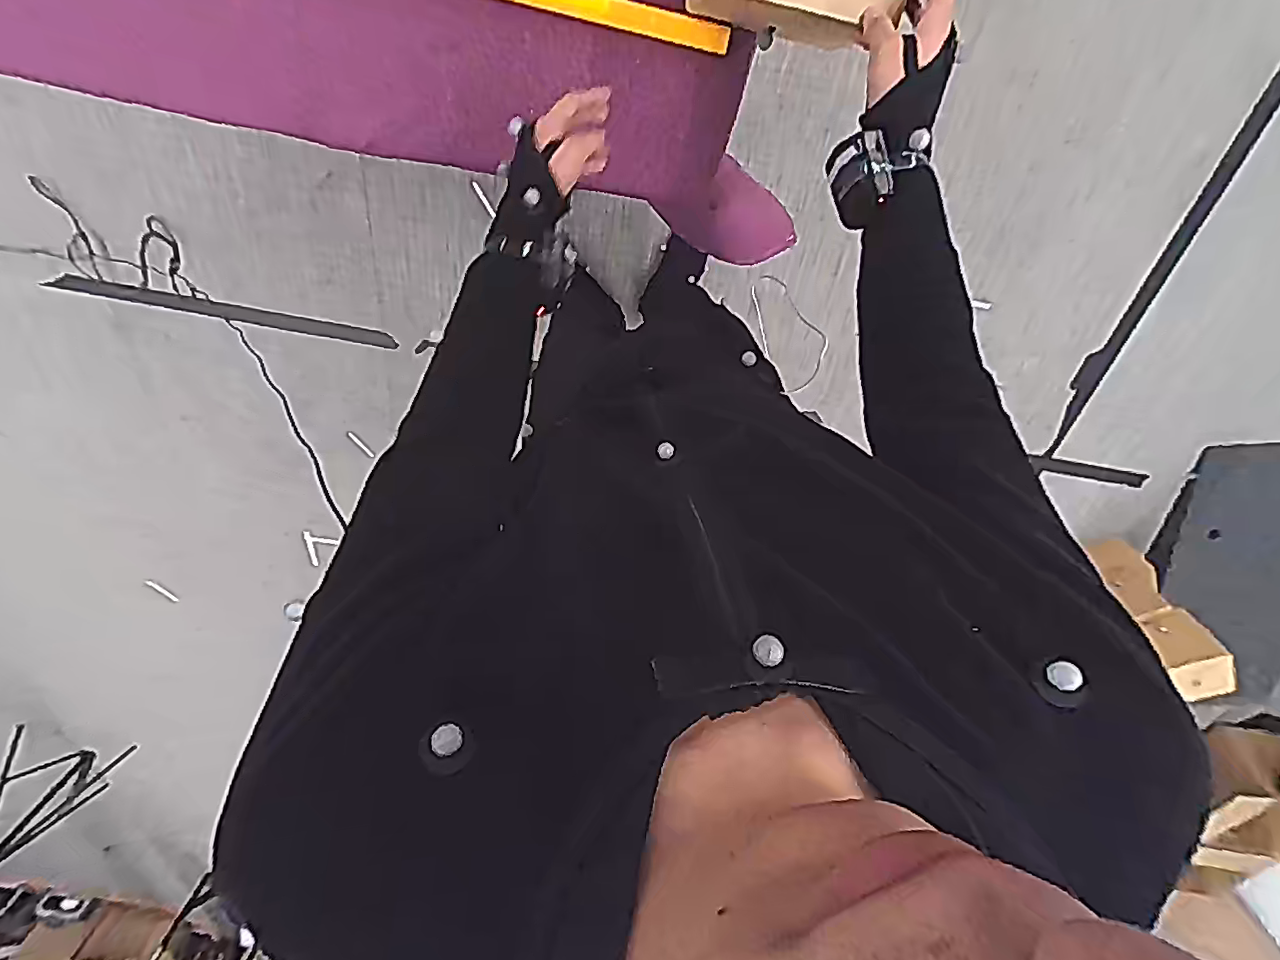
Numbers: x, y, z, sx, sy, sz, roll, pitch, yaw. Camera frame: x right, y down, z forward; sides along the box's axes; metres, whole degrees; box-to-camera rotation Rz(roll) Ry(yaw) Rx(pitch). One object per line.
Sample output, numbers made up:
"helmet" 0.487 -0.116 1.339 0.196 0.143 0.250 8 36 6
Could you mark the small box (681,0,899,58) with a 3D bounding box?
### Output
"small box" 0.150 -0.520 0.510 0.179 0.176 0.168 7 124 -10
